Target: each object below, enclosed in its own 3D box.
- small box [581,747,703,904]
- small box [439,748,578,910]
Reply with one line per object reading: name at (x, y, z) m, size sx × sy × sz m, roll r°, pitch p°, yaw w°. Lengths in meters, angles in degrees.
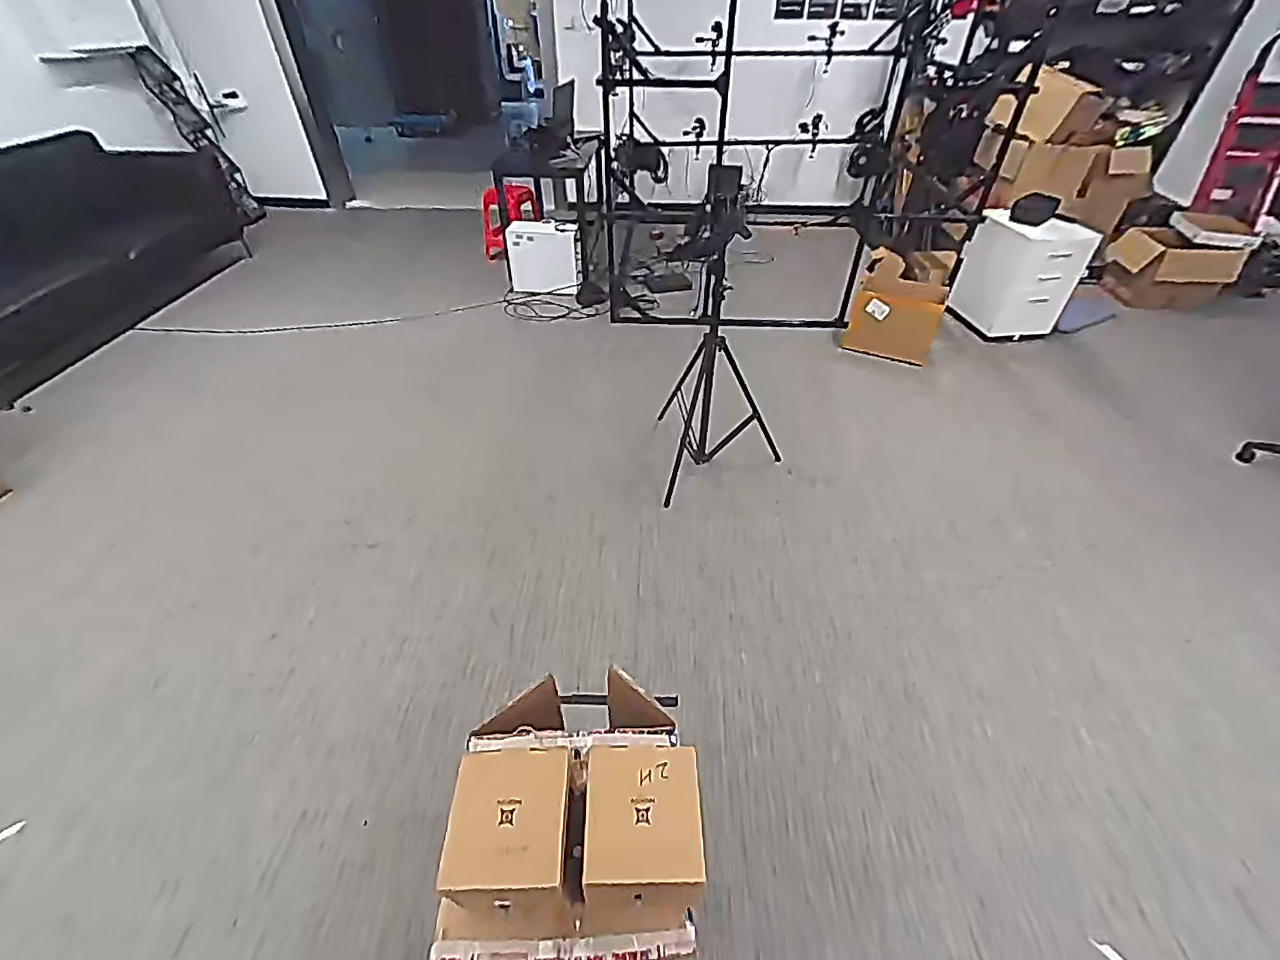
small box at (0.002, 0.532, 0.830) m, size 0.168 × 0.176 × 0.179 m, roll 1°, pitch 43°, yaw -2°
small box at (-0.186, 0.533, 0.827) m, size 0.168 × 0.176 × 0.179 m, roll -2°, pitch 46°, yaw -1°
